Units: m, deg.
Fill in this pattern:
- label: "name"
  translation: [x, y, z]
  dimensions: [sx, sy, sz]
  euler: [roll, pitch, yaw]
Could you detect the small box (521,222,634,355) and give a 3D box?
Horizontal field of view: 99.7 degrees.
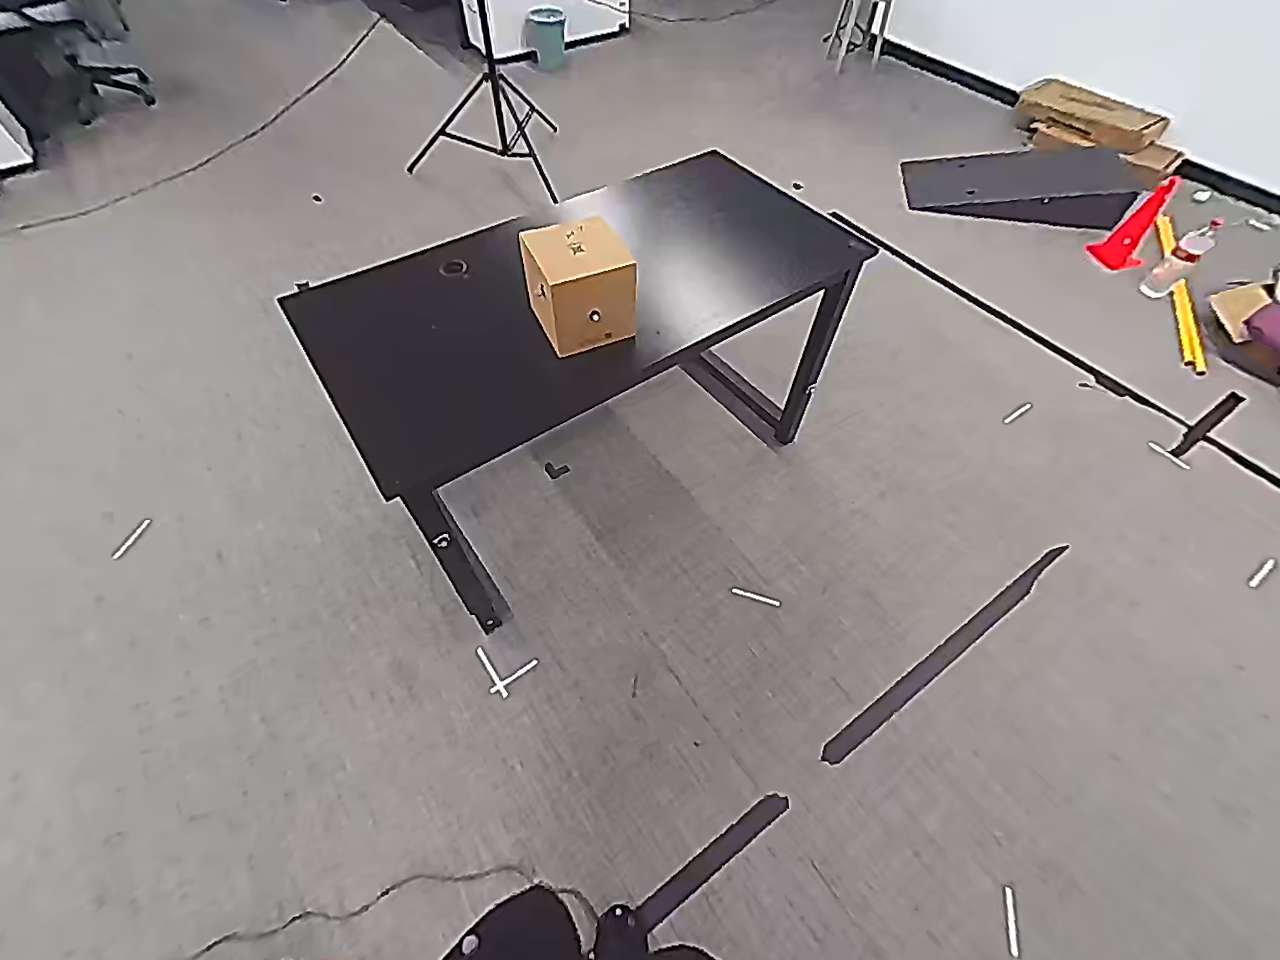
- label: "small box"
  translation: [-0.117, -0.366, 1.056]
  dimensions: [0.168, 0.176, 0.179]
  euler: [-20, 57, -15]
